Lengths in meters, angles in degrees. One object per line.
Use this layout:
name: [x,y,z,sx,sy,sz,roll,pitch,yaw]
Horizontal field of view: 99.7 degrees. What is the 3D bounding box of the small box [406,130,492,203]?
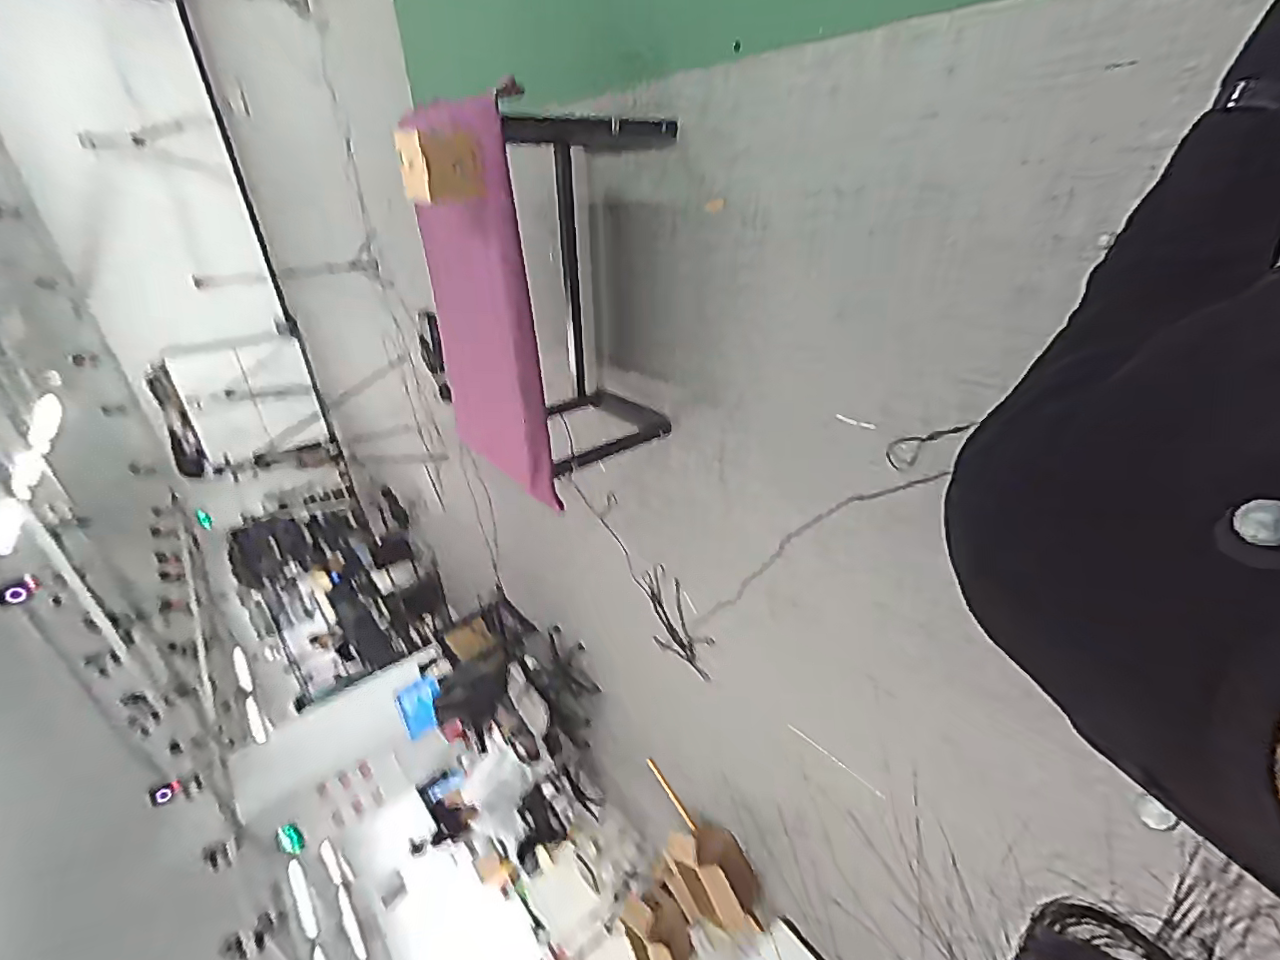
small box: [-0.531,-0.891,1.530,0.179,0.176,0.168,32,134,39]
